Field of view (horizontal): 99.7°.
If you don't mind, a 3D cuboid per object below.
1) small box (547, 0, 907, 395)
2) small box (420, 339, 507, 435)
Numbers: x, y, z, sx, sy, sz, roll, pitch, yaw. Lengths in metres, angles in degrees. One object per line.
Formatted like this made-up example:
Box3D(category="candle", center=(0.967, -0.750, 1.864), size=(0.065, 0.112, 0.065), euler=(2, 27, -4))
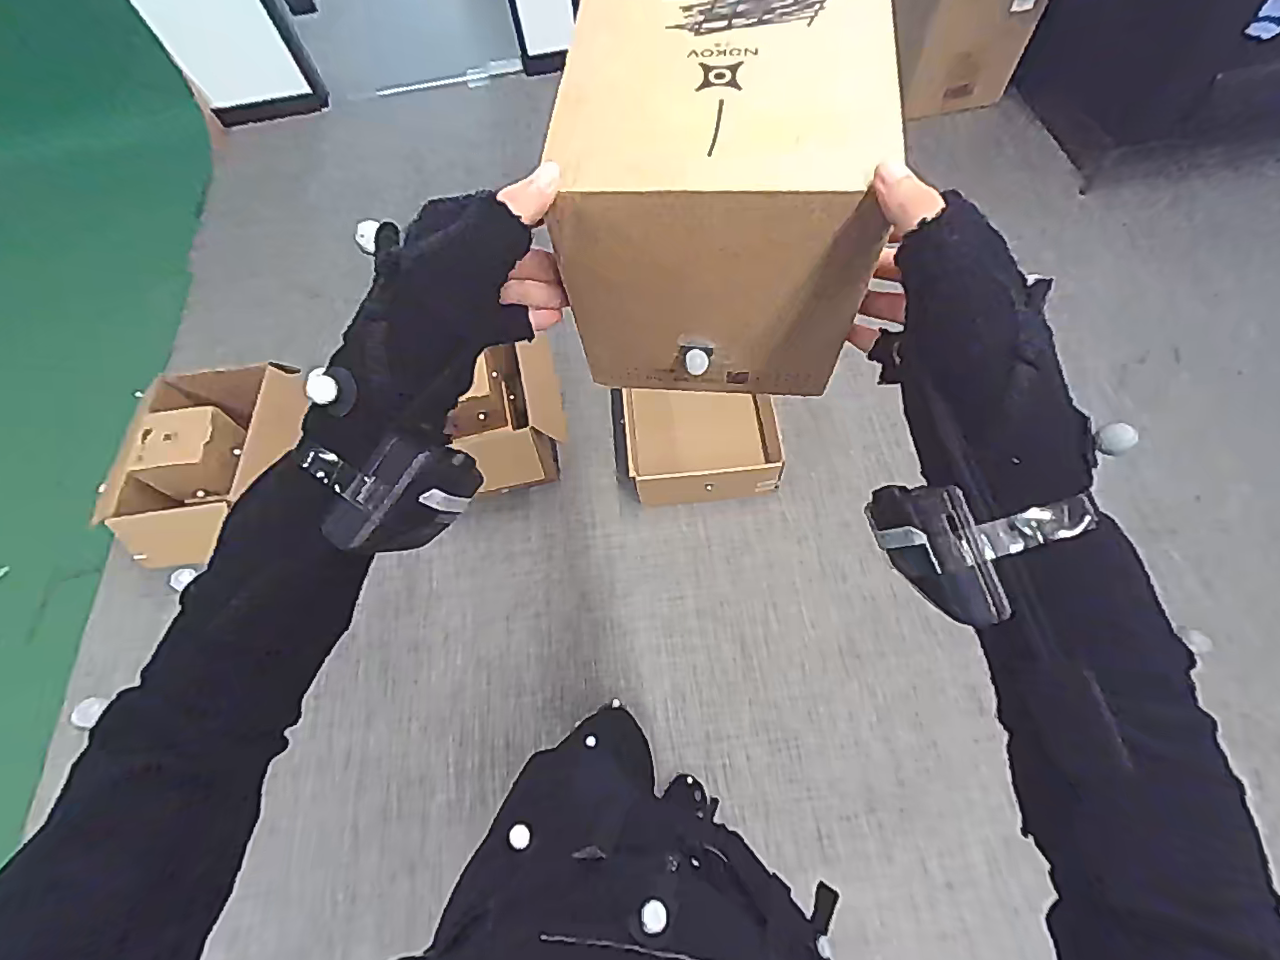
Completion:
Box3D(category="small box", center=(0.053, -0.177, 0.348), size=(0.168, 0.176, 0.179), euler=(4, 68, 8))
Box3D(category="small box", center=(-0.454, -0.232, 1.411), size=(0.168, 0.176, 0.179), euler=(-13, 66, -3))
